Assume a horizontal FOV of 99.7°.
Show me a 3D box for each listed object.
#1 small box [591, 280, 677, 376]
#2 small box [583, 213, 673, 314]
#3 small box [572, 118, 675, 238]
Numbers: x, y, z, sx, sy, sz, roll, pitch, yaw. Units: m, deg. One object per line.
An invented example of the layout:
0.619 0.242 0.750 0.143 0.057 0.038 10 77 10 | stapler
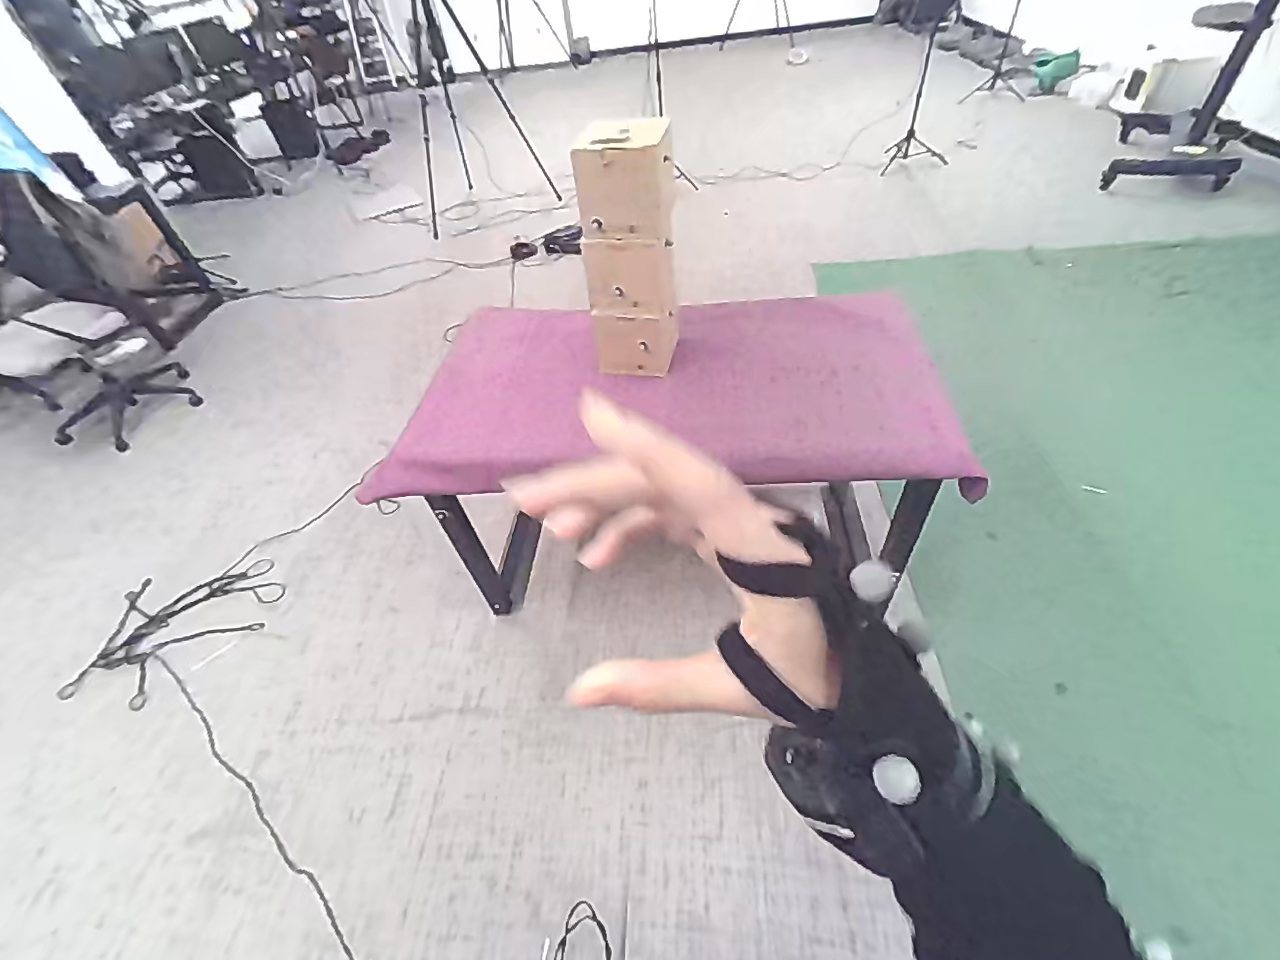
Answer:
-0.004 -0.370 1.316 0.168 0.176 0.179 7 48 13 | small box
-0.018 -0.488 1.205 0.168 0.176 0.179 5 49 11 | small box
-0.023 -0.605 1.089 0.168 0.176 0.179 6 48 11 | small box
